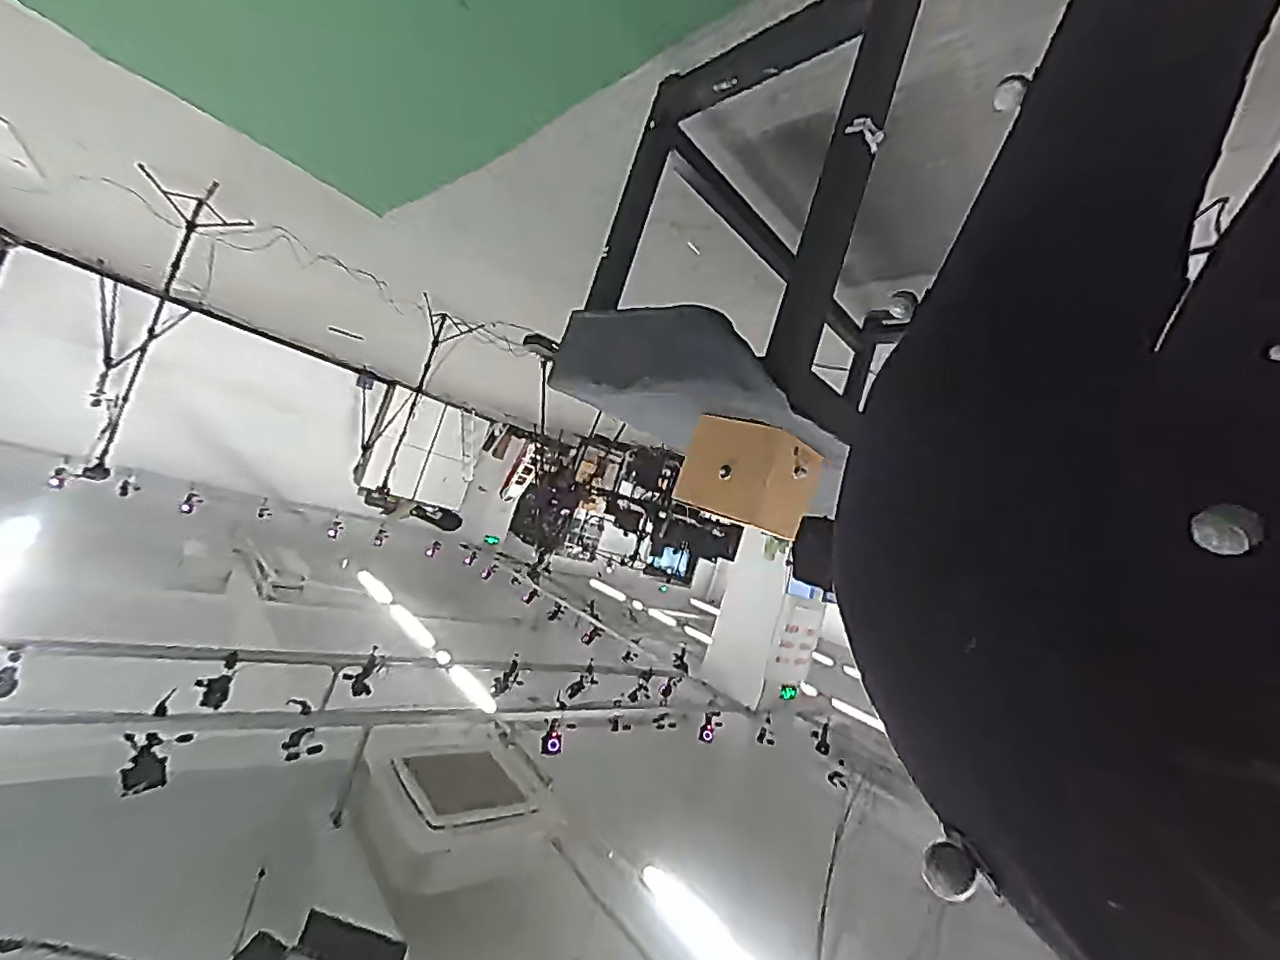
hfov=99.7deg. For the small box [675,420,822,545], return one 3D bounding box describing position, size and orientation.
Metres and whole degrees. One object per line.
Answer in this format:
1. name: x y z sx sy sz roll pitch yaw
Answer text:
1. small box: 0.197 0.001 0.974 0.179 0.176 0.168 17 177 42
